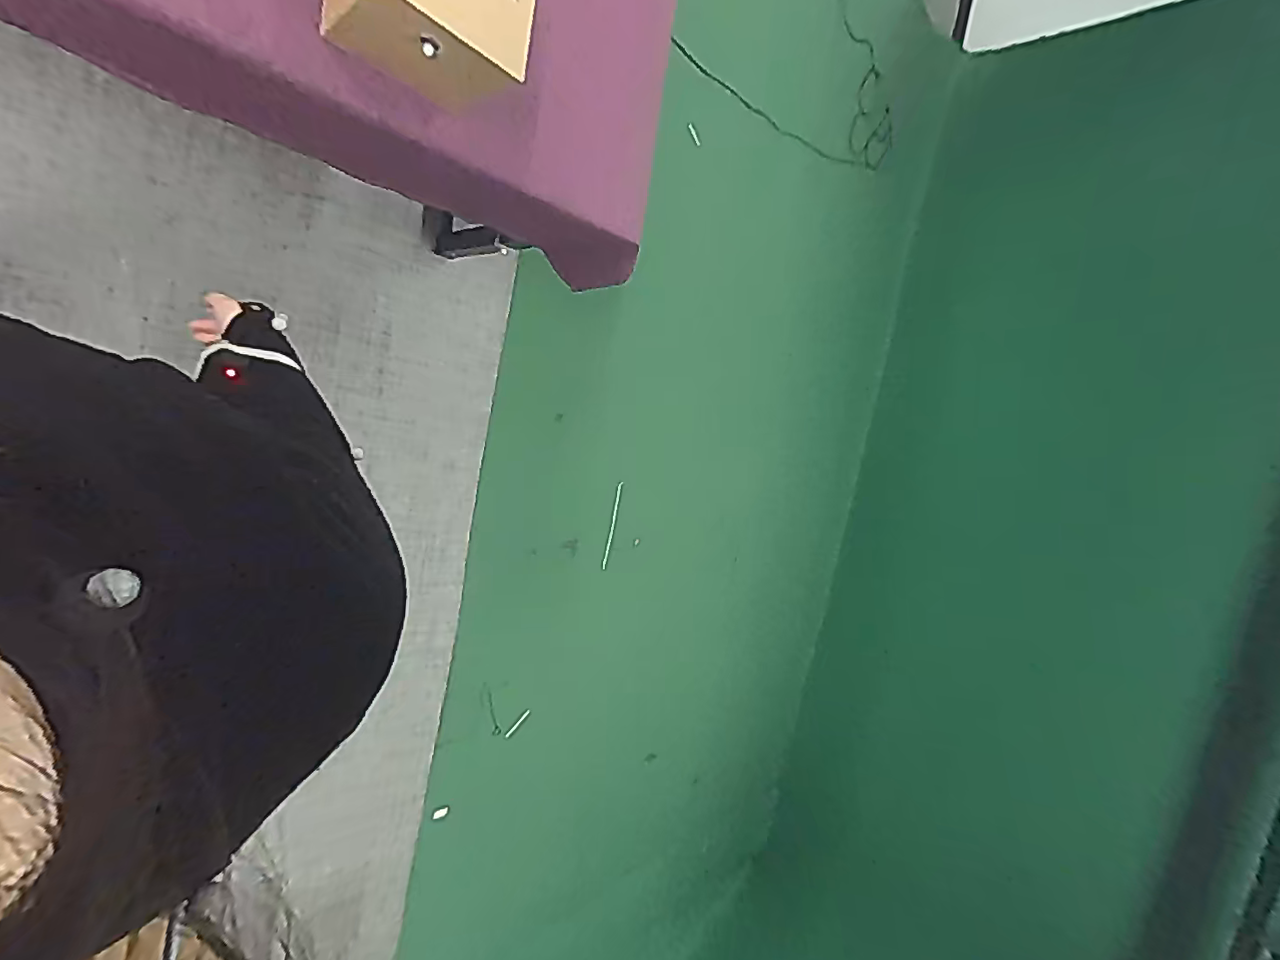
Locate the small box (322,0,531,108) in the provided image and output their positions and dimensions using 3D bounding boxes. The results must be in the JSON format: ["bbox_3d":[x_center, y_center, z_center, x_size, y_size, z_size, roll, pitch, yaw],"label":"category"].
[{"bbox_3d":[-0.248,-0.577,0.634,0.179,0.176,0.168,3,100,-49],"label":"small box"}]
